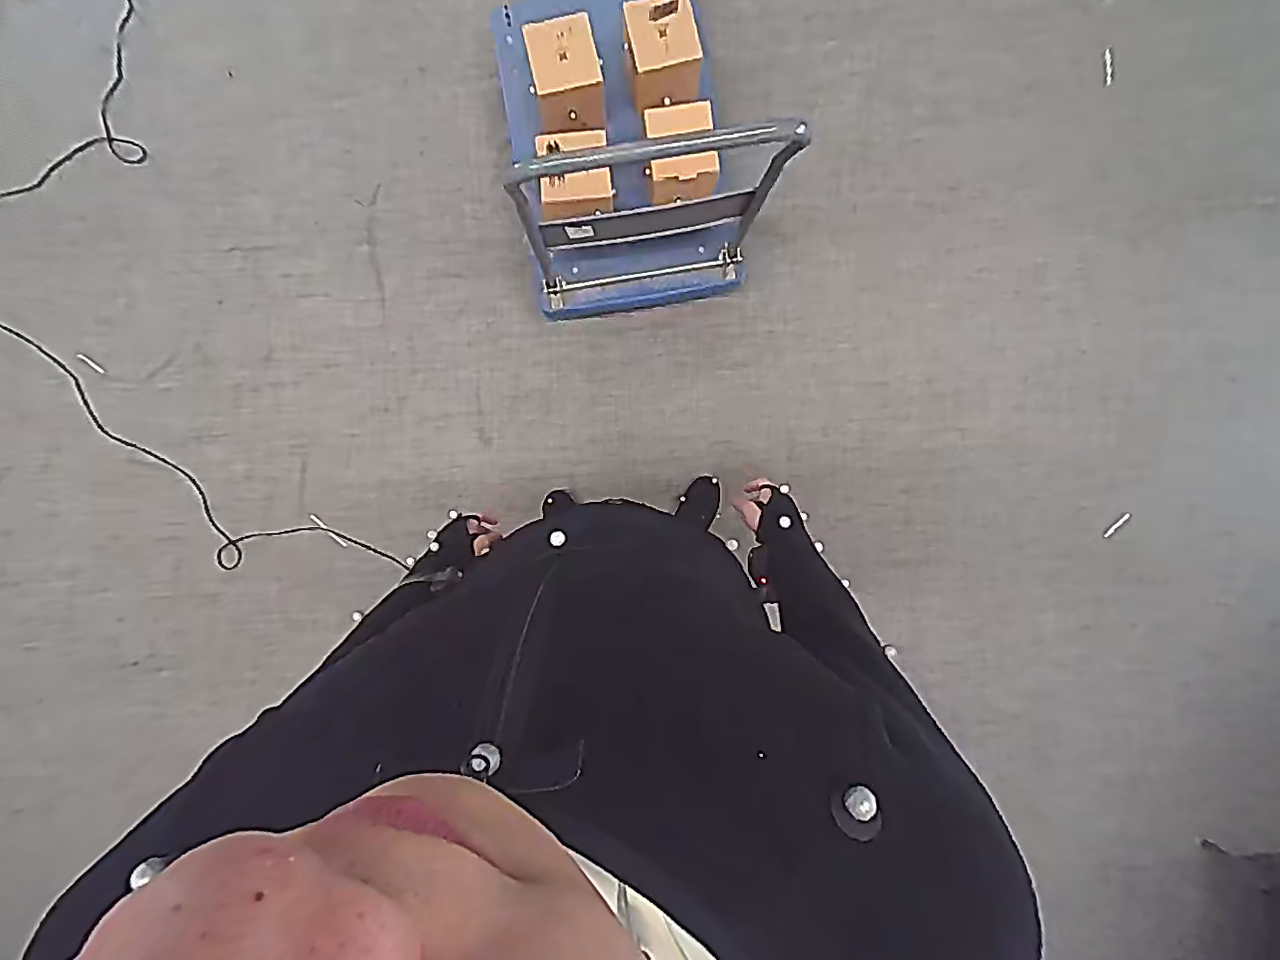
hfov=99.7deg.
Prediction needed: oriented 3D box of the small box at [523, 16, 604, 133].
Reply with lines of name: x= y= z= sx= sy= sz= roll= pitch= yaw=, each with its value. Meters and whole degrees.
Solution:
small box: x=-0.192 y=-1.039 z=1.407 sx=0.168 sy=0.176 sz=0.179 roll=-13 pitch=90 yaw=-1

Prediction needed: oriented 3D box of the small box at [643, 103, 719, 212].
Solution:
small box: x=0.100 y=-0.833 z=1.410 sx=0.168 sy=0.176 sz=0.179 roll=-9 pitch=90 yaw=-1

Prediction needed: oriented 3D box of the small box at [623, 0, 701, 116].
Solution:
small box: x=0.053 y=-1.100 z=1.409 sx=0.168 sy=0.176 sz=0.179 roll=-13 pitch=91 yaw=0
